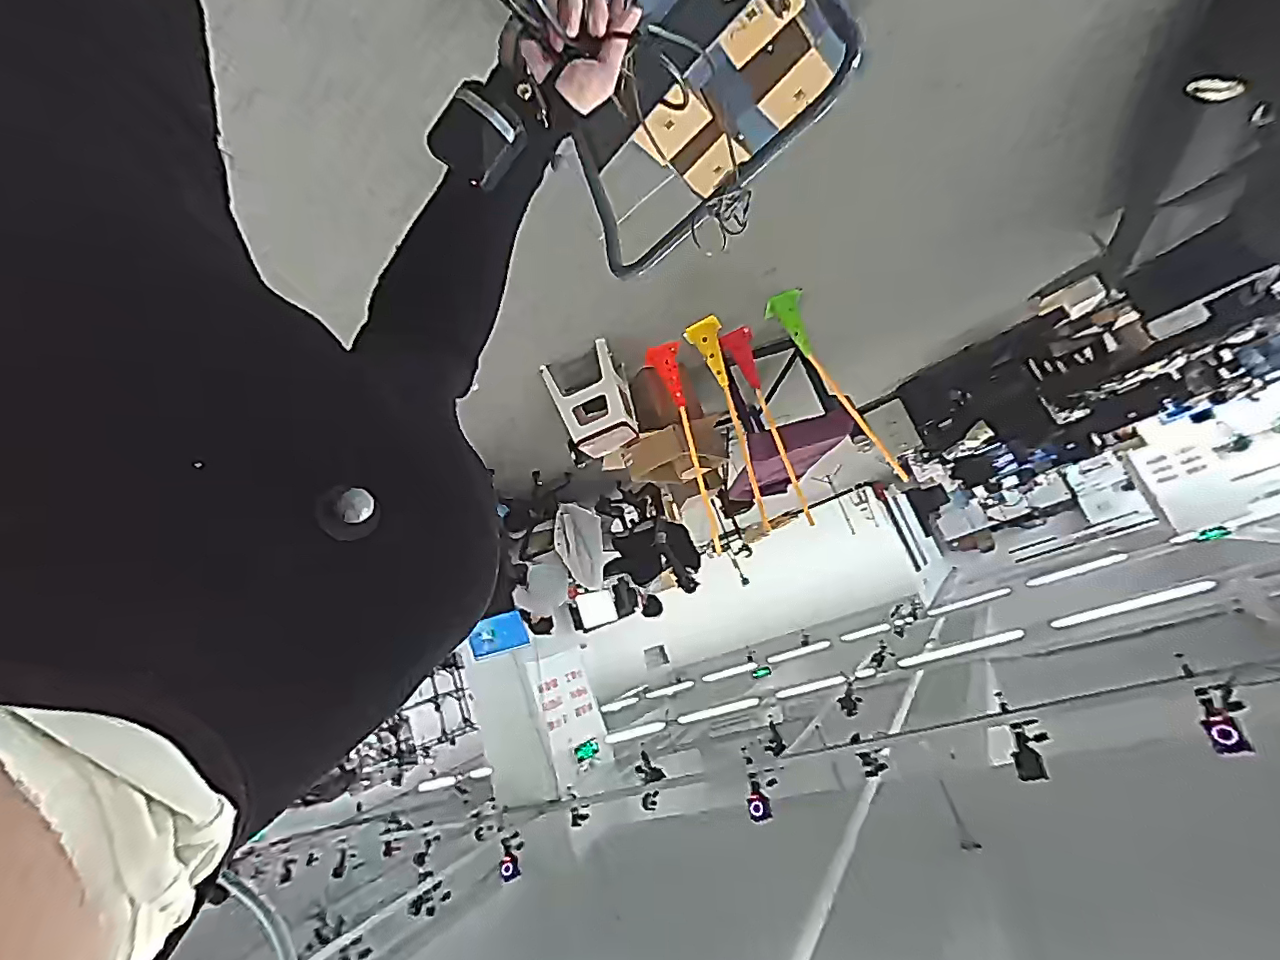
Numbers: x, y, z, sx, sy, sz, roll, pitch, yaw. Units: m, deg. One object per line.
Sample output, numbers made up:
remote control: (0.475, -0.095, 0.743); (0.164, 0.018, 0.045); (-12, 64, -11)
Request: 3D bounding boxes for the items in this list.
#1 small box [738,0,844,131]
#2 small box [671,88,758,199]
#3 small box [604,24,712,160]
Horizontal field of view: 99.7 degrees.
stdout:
small box: (0.374, -1.039, 1.356); (0.168, 0.176, 0.179); (-31, 161, 39)
small box: (0.193, -0.932, 1.501); (0.168, 0.176, 0.179); (-32, 160, 36)
small box: (0.043, -0.936, 1.309); (0.168, 0.176, 0.179); (-30, 161, 33)
